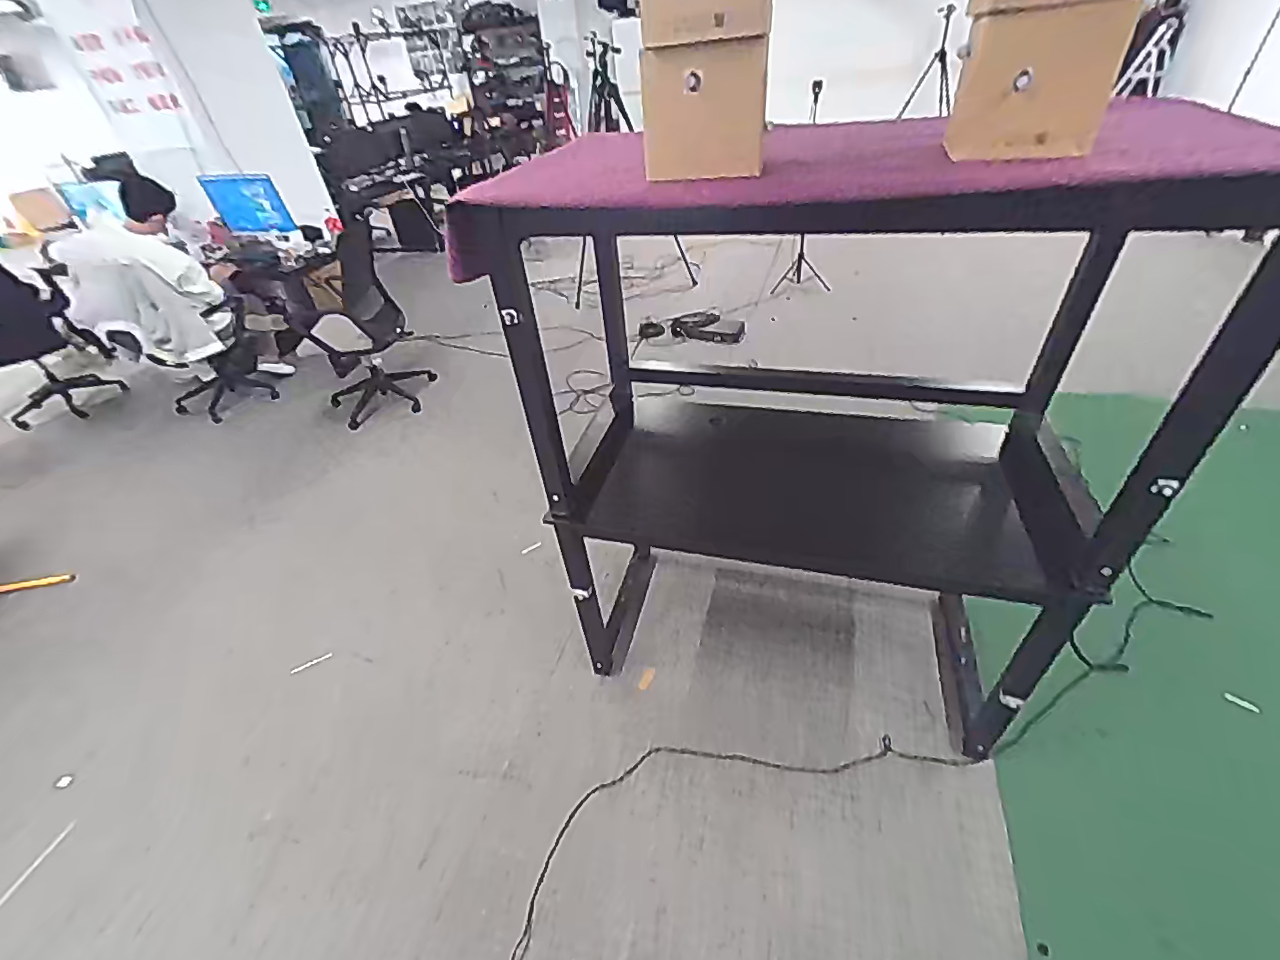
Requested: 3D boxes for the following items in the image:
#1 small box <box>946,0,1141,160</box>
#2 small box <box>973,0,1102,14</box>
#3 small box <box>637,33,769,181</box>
[{"bbox_3d":[0.546,-0.559,0.762,0.168,0.176,0.179,9,40,19],"label":"small box"},{"bbox_3d":[0.527,-0.682,0.657,0.179,0.176,0.168,7,40,16],"label":"small box"},{"bbox_3d":[0.104,-0.573,0.837,0.179,0.176,0.168,4,40,13],"label":"small box"}]
